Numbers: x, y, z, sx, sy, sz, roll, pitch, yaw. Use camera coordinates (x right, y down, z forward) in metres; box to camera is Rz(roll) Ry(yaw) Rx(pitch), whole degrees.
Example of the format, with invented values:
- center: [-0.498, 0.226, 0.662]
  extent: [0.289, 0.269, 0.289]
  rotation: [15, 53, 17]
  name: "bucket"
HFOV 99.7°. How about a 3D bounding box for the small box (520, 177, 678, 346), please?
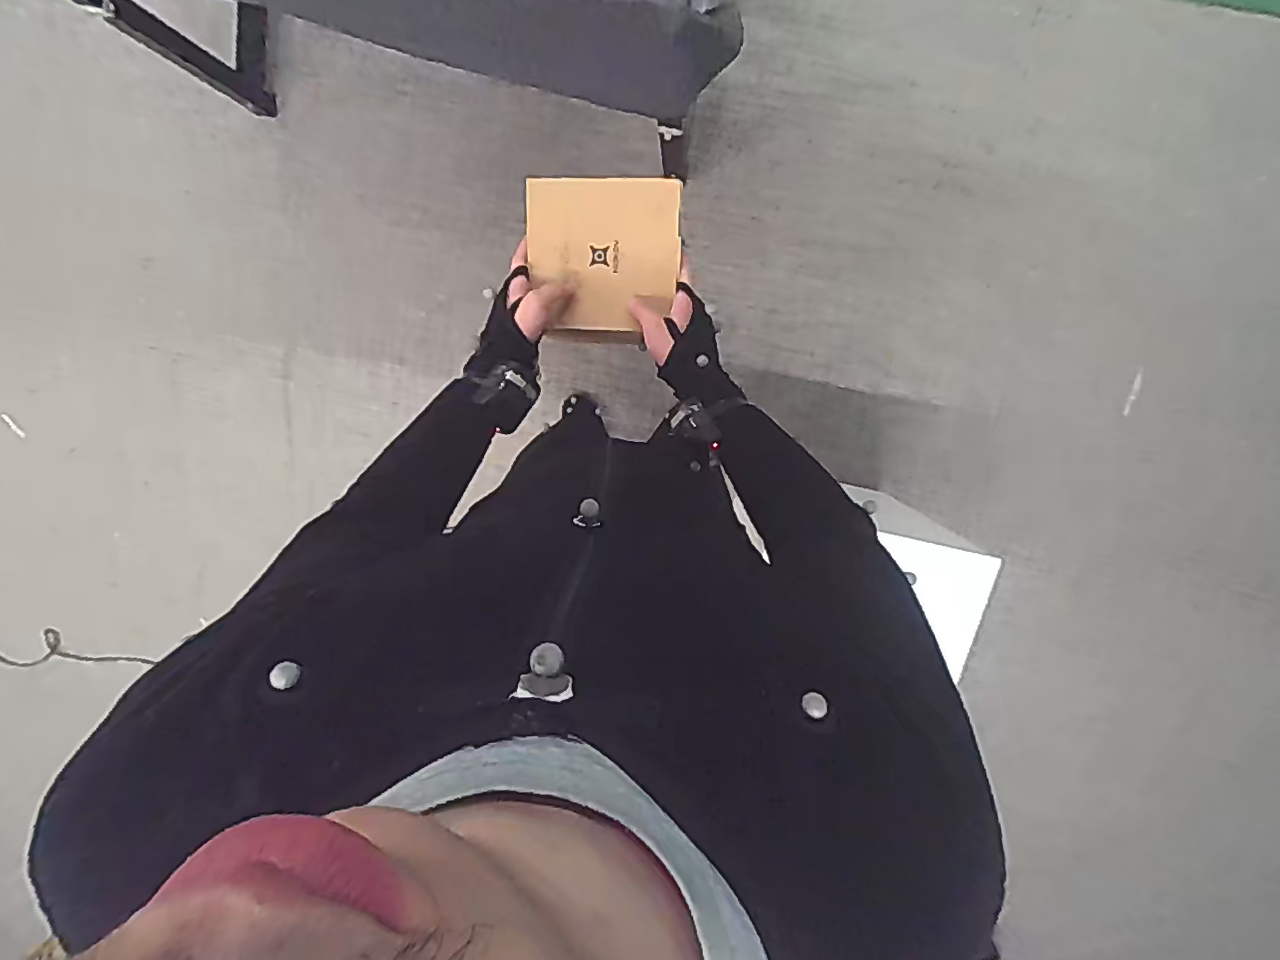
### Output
- center: [-0.041, -0.262, 0.681]
  extent: [0.179, 0.176, 0.168]
  rotation: [1, 98, 5]
  name: "small box"
